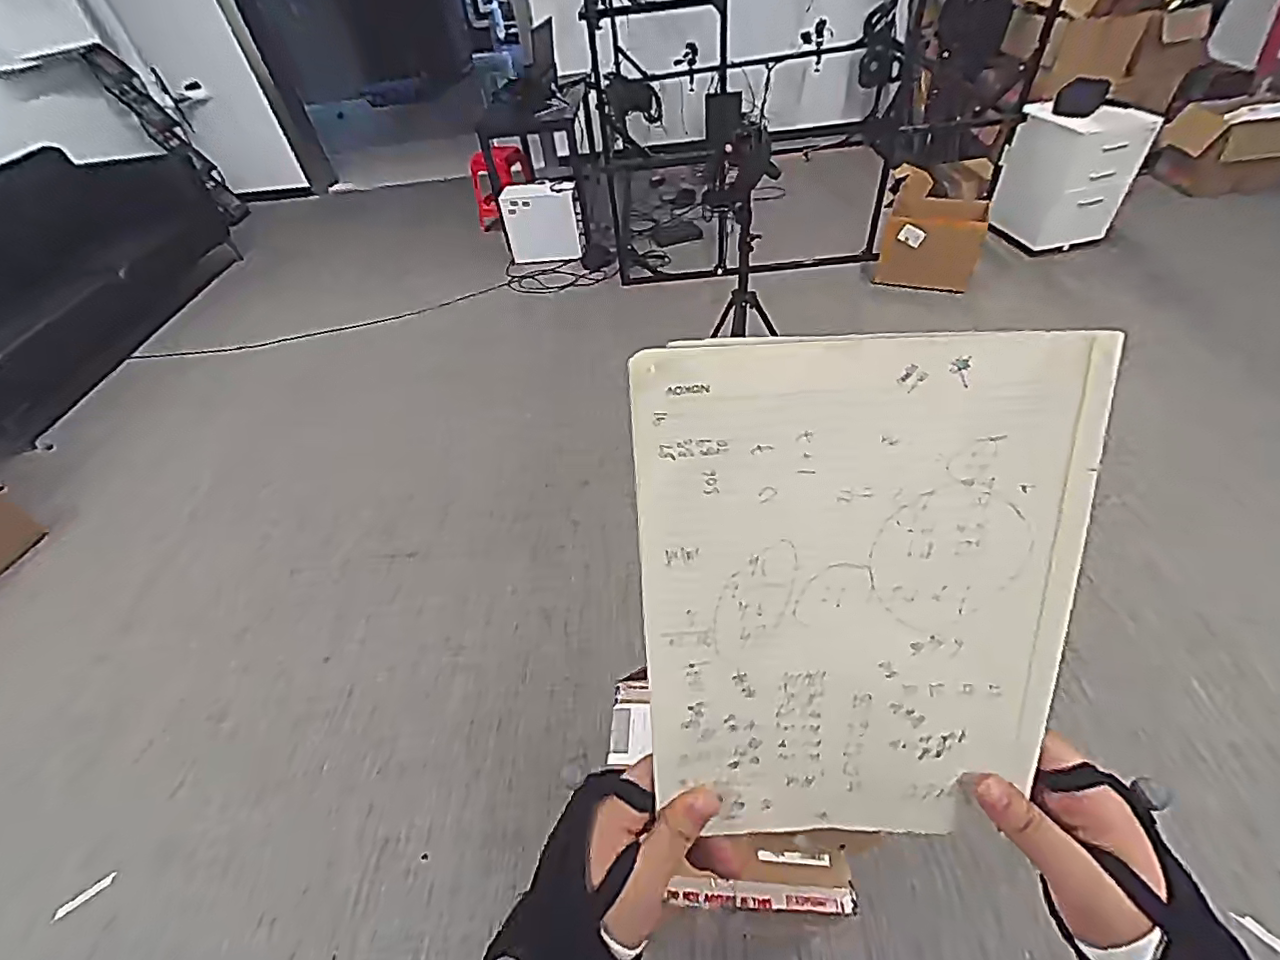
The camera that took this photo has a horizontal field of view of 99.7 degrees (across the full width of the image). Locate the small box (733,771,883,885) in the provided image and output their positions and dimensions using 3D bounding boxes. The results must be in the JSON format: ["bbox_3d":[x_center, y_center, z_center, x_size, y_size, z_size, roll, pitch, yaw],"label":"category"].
[{"bbox_3d":[0.238,0.496,0.814,0.179,0.176,0.168,-1,47,5],"label":"small box"}]

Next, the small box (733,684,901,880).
[{"bbox_3d":[0.209,0.387,0.693,0.168,0.176,0.179,3,49,7],"label":"small box"}]
